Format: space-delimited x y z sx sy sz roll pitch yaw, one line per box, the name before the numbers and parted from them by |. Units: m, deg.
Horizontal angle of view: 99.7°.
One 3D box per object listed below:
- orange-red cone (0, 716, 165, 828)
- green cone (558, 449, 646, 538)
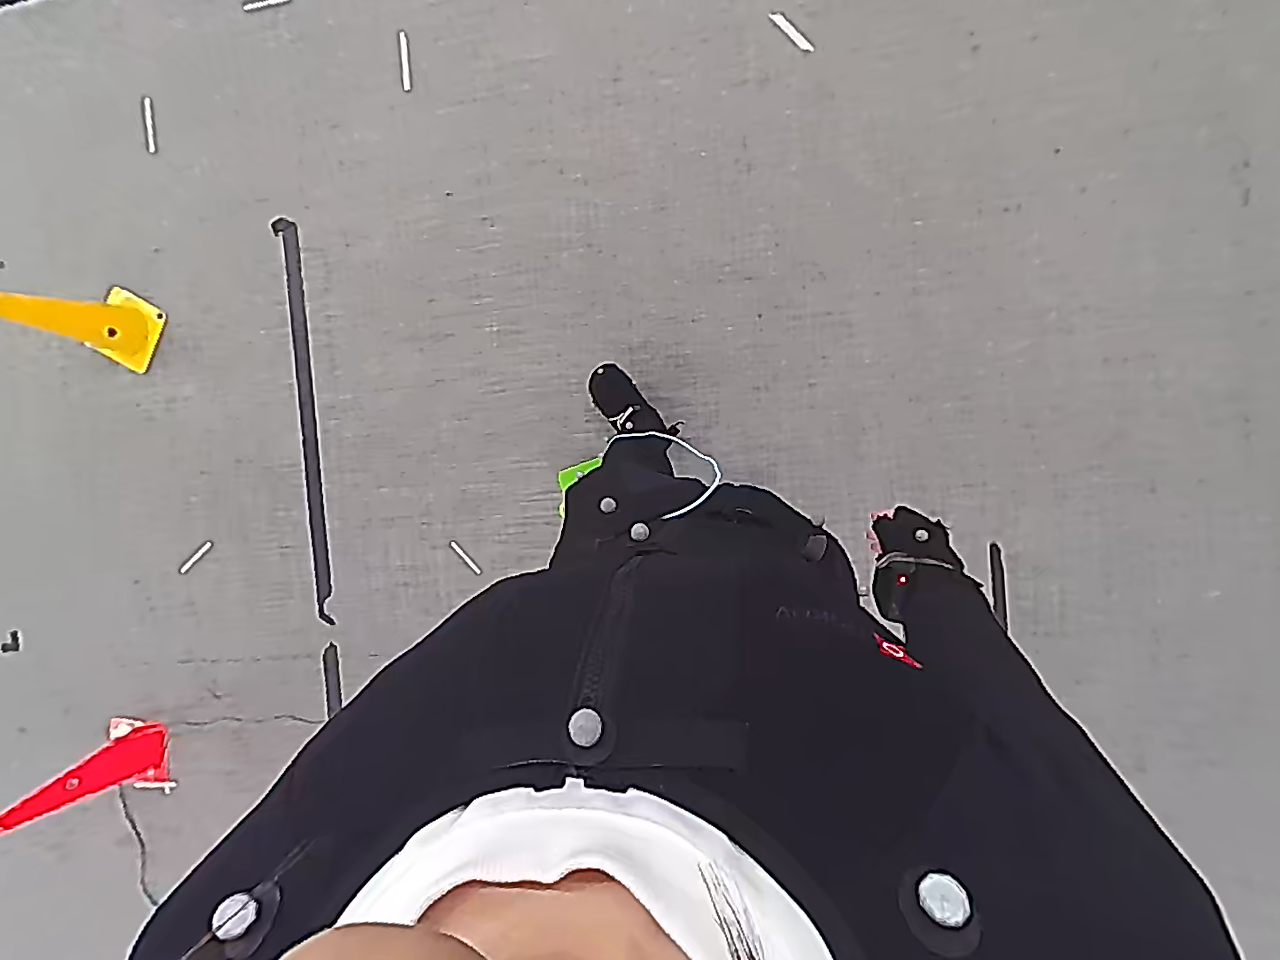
orange-red cone | -1.595 0.848 1.520 0.198 0.360 0.199 4 93 7
green cone | -0.127 0.050 1.274 0.200 0.368 0.202 -19 92 9
